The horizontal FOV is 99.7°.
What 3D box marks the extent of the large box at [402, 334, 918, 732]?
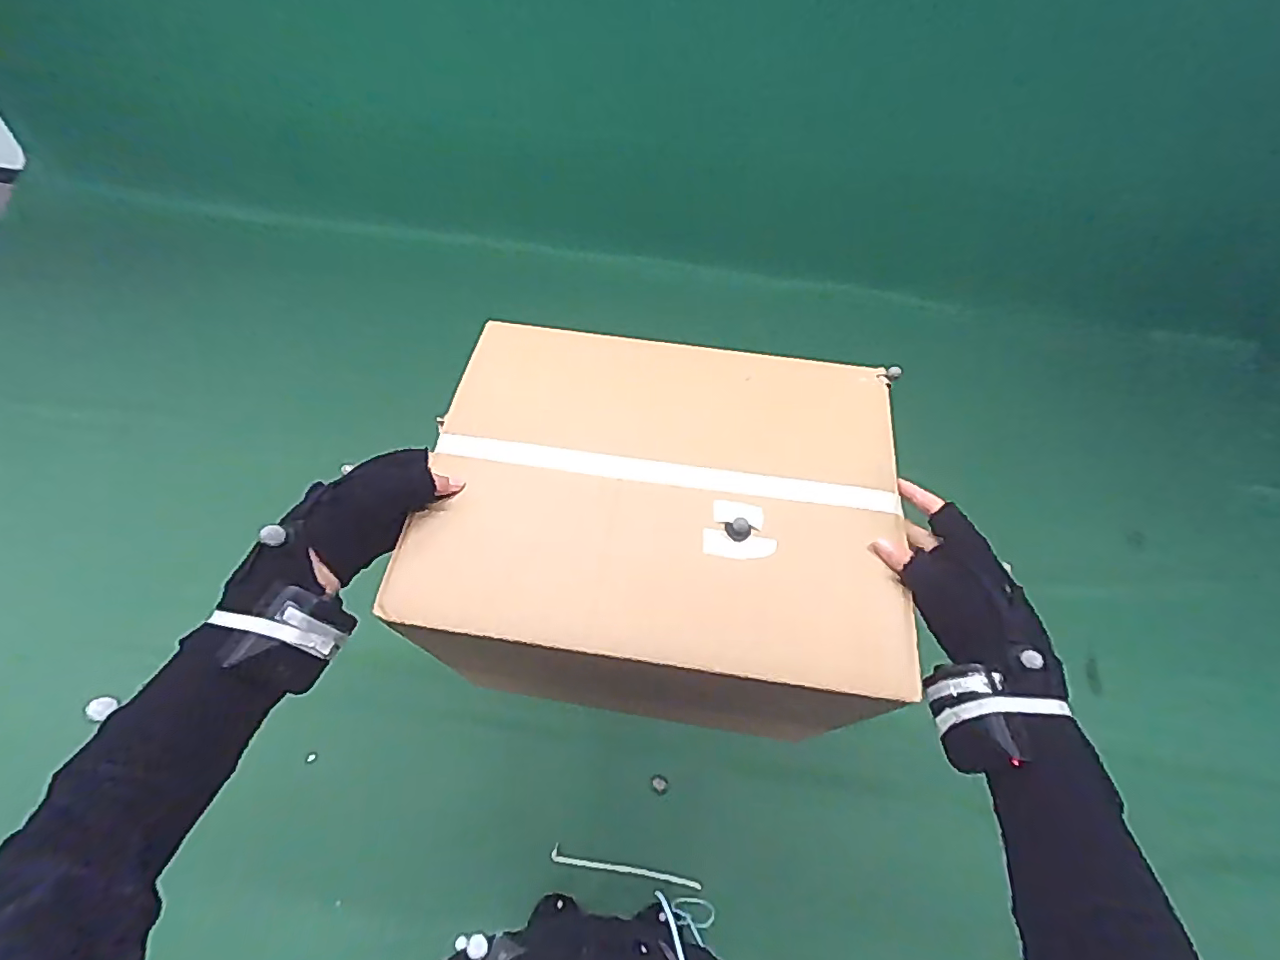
[{"bbox_3d":[0.024,0.075,0.610,0.408,0.320,0.320,8,60,3],"label":"large box"}]
